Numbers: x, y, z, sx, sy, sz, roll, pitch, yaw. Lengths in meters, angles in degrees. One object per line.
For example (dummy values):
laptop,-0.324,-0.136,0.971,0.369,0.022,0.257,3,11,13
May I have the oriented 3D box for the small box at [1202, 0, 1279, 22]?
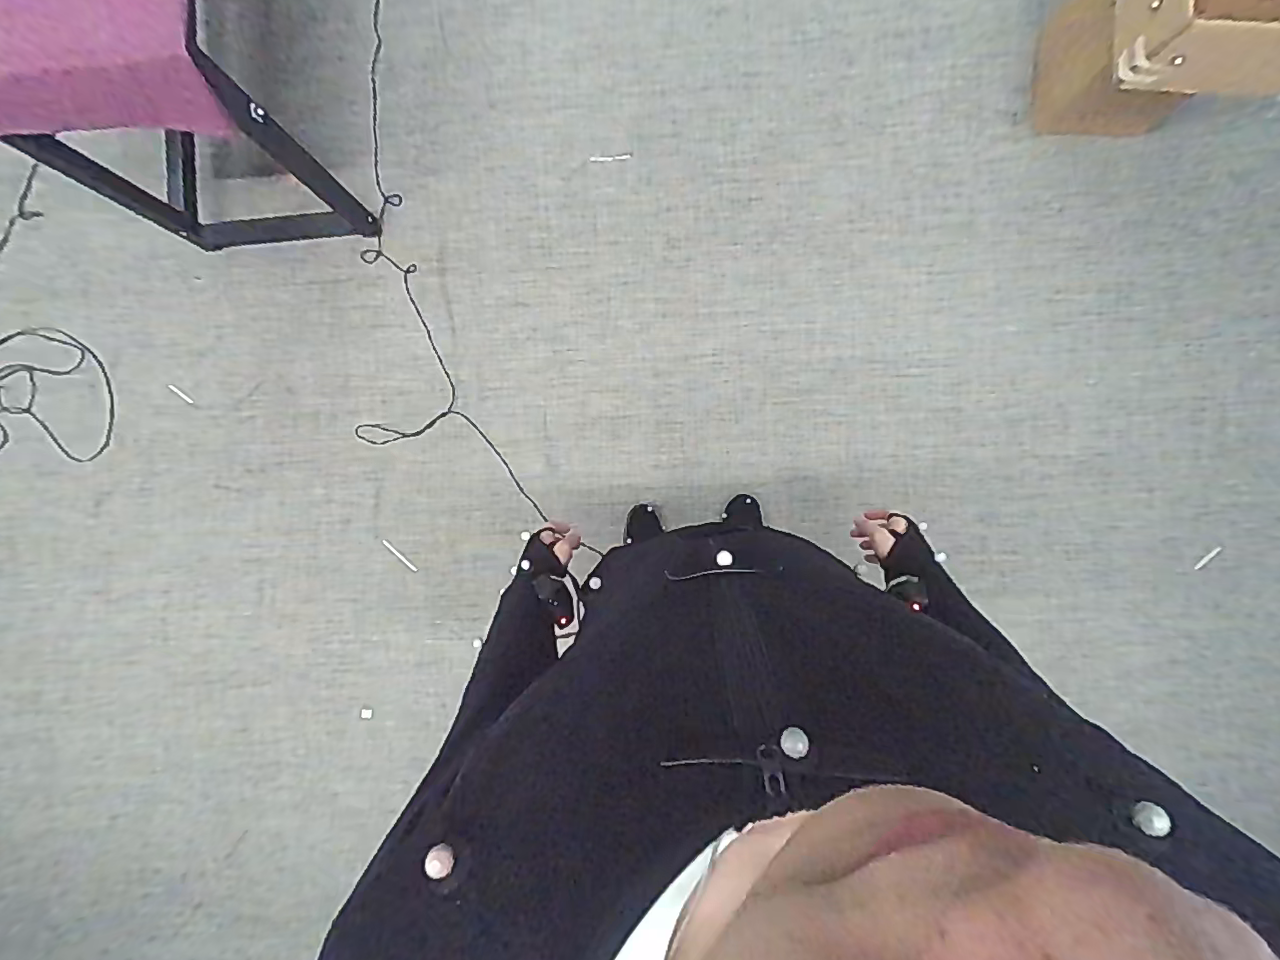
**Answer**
small box,1.297,-1.067,1.079,0.179,0.176,0.168,10,91,5
